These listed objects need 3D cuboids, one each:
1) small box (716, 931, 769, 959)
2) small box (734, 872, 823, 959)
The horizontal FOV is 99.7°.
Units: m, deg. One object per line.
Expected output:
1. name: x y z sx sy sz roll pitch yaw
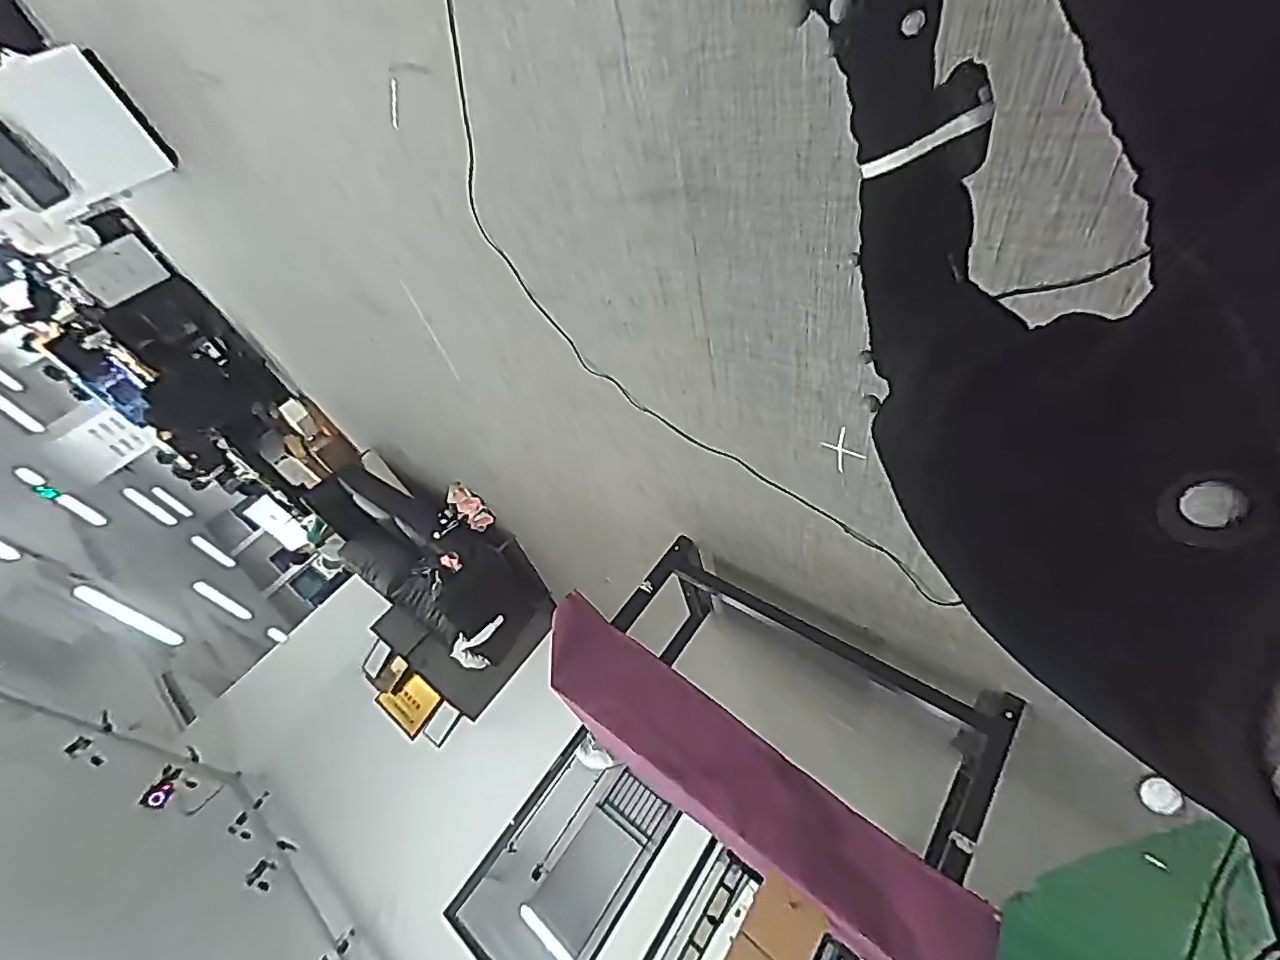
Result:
1. small box: 0.285 1.336 1.428 0.179 0.176 0.168 22 148 34
2. small box: 0.385 1.226 1.499 0.179 0.176 0.168 23 149 35
